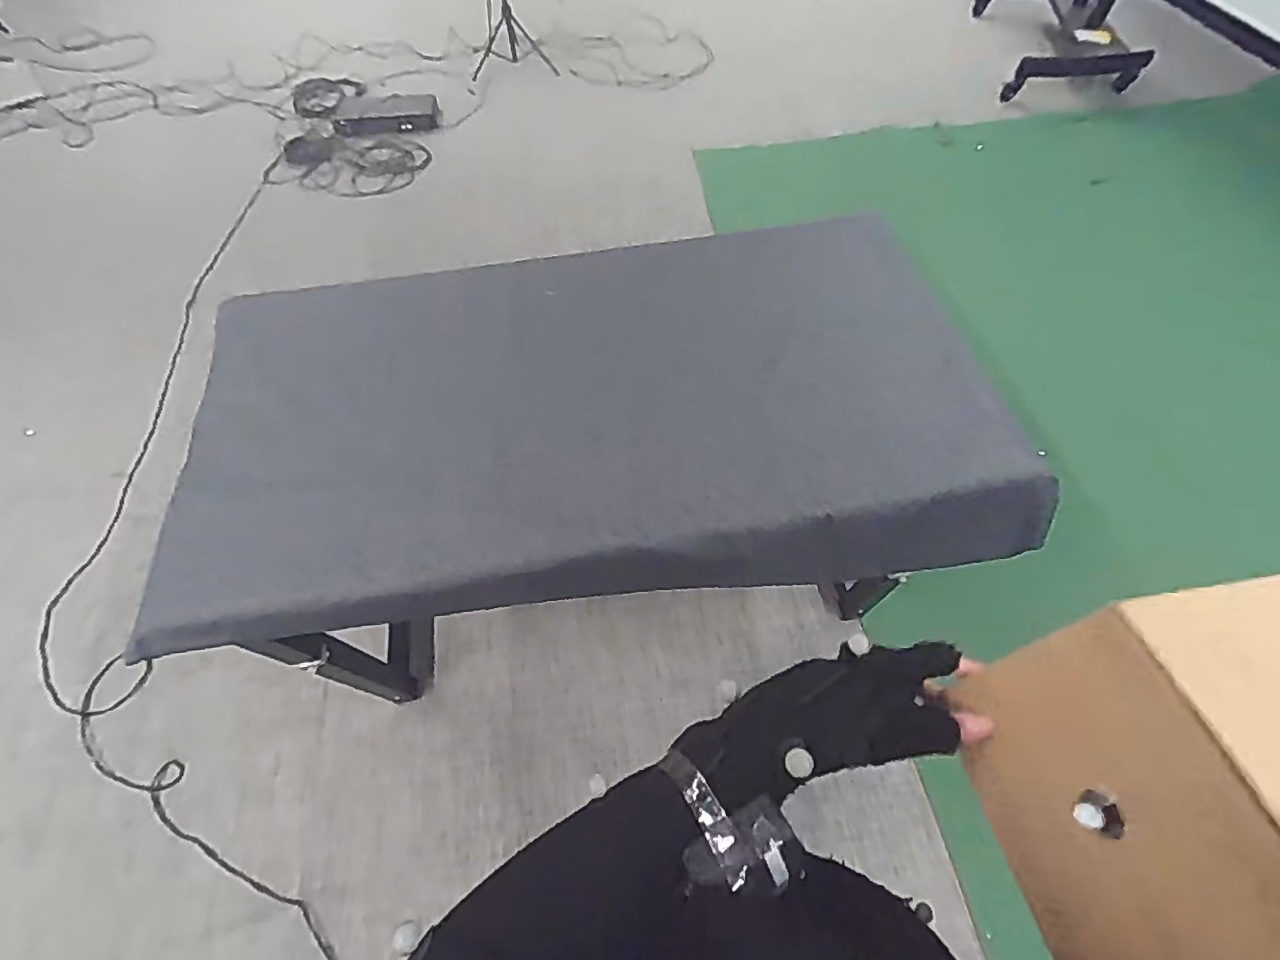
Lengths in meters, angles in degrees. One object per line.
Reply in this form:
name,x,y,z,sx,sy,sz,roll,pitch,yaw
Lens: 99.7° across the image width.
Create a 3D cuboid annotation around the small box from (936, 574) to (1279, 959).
small box,0.304,0.166,0.285,0.168,0.176,0.179,-5,55,-9
